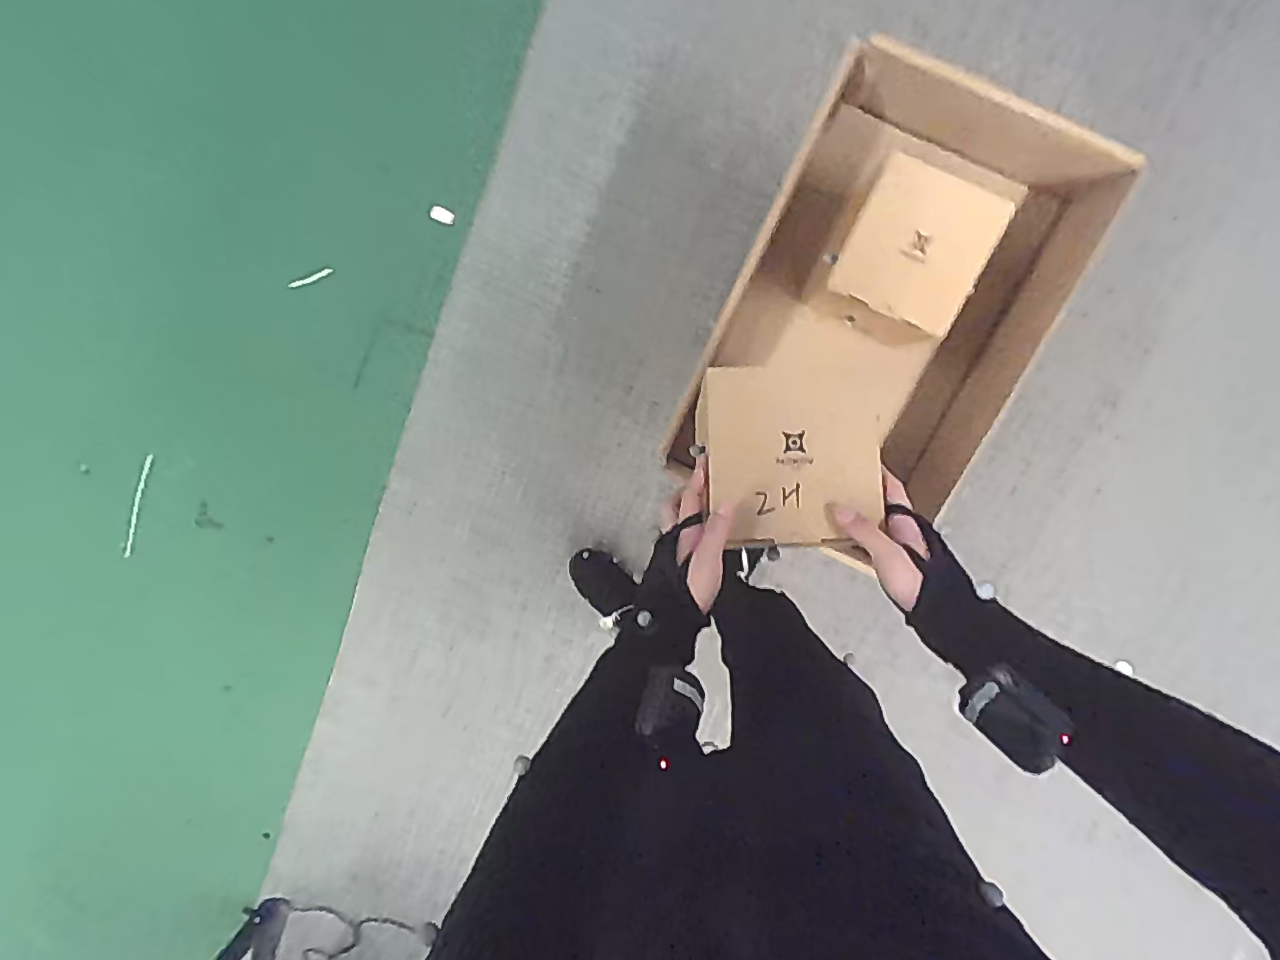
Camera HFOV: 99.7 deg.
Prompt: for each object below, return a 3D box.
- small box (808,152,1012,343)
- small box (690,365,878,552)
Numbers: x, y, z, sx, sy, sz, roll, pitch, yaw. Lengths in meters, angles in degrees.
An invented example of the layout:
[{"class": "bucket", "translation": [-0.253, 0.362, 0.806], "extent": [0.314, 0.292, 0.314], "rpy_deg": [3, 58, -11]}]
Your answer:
[{"class": "small box", "translation": [0.354, -0.305, 0.753], "extent": [0.168, 0.176, 0.179], "rpy_deg": [24, 102, 1]}, {"class": "small box", "translation": [0.143, -0.013, 0.597], "extent": [0.168, 0.176, 0.179], "rpy_deg": [-1, 80, 3]}]
